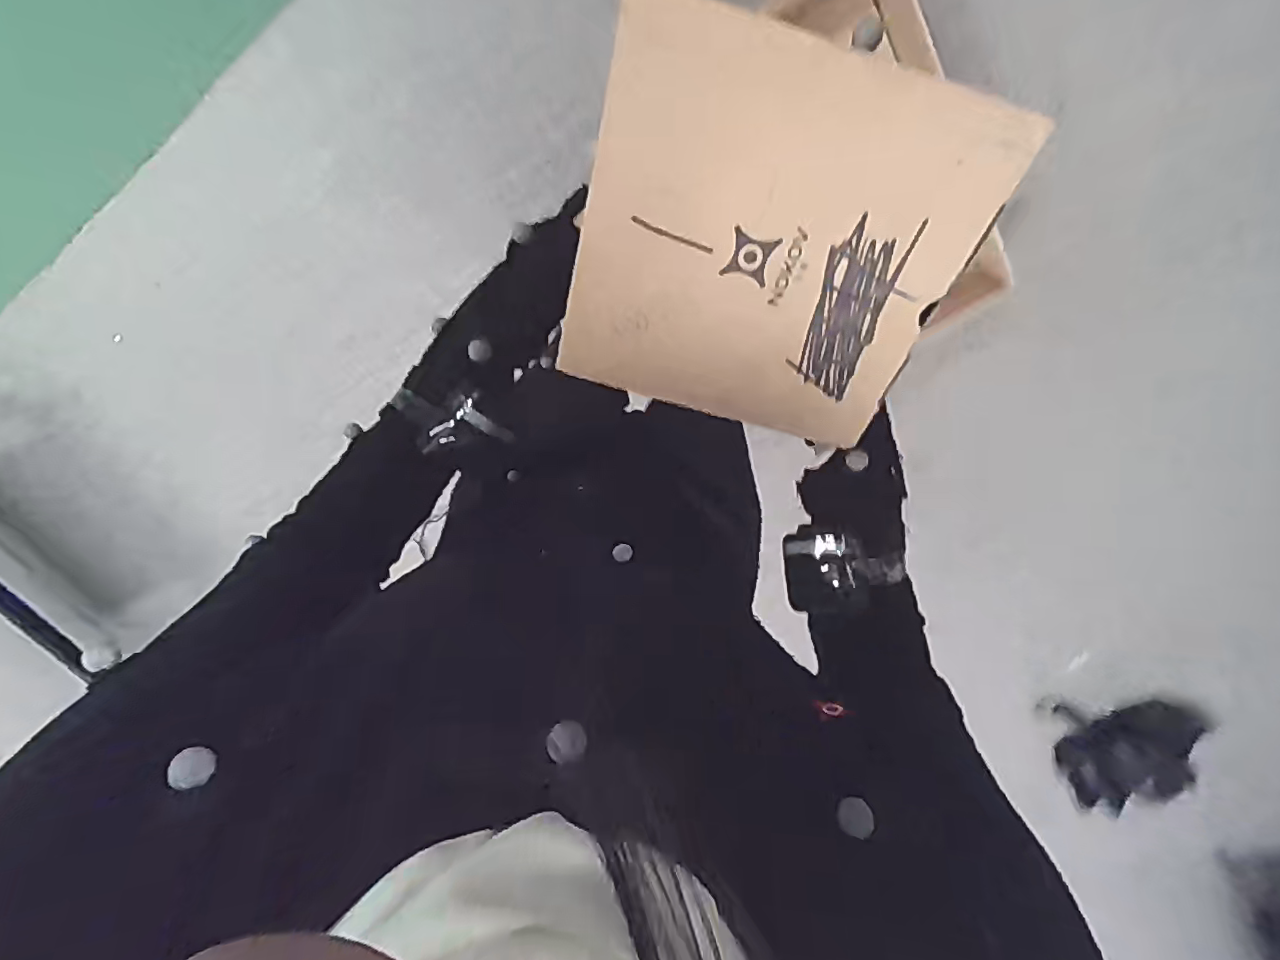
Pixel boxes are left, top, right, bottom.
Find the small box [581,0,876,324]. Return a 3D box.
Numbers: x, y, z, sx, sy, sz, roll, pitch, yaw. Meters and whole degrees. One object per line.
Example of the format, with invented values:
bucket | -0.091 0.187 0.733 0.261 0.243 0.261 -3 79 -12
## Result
small box | 0.056 -0.254 0.430 0.168 0.176 0.179 11 130 -2
